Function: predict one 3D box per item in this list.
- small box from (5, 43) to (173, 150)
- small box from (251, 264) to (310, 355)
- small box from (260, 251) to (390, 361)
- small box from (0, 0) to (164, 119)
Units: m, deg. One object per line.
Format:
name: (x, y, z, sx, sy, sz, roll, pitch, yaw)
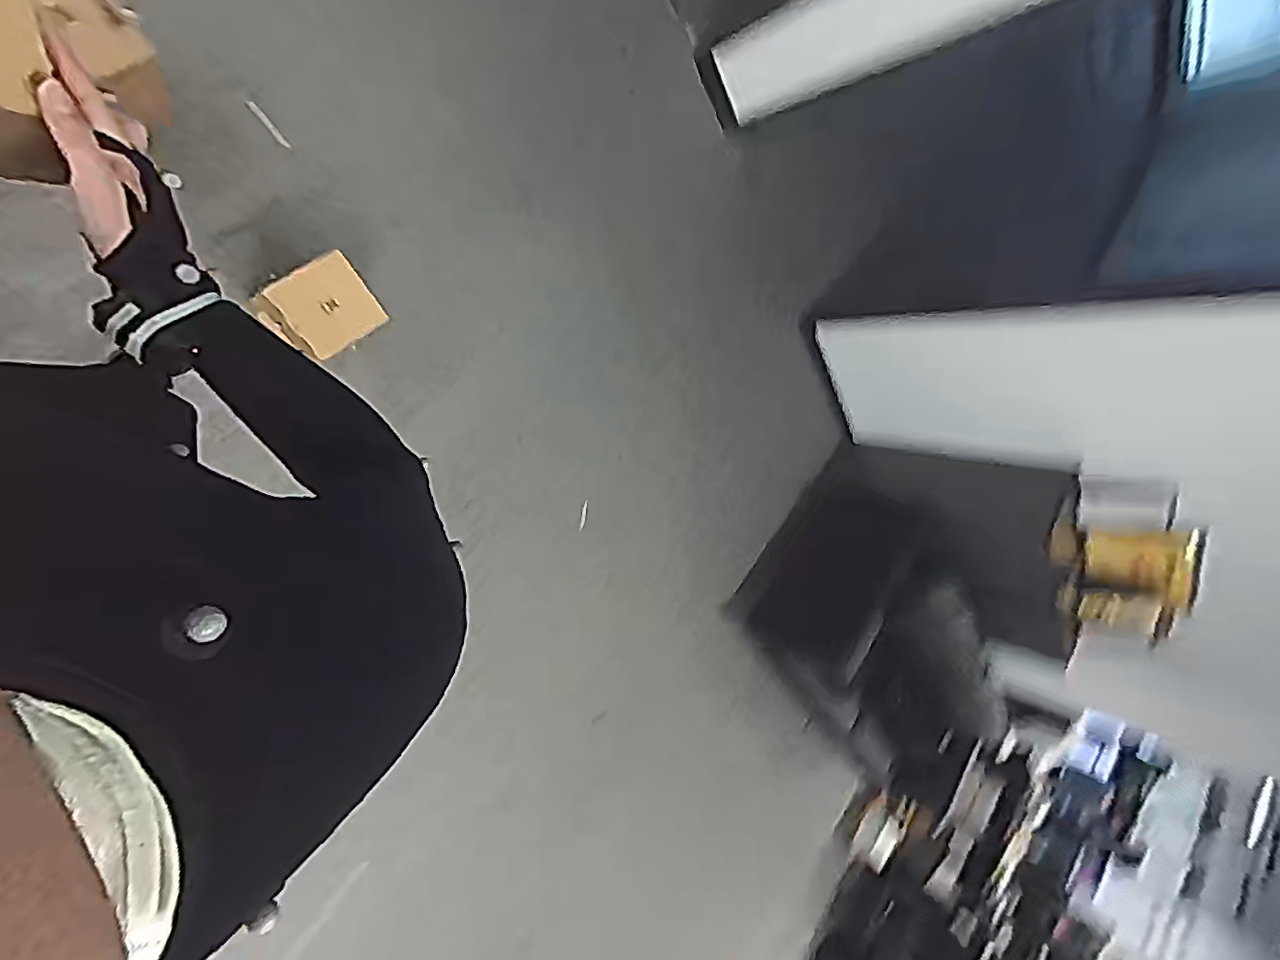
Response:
small box: (-1.043, -0.770, 1.028, 0.168, 0.176, 0.179, -45, 125, -23)
small box: (-0.806, -0.416, 1.311, 0.179, 0.176, 0.168, -39, 121, -26)
small box: (-0.699, -0.383, 1.196, 0.179, 0.176, 0.168, -44, 126, -23)
small box: (-0.944, -0.741, 0.901, 0.179, 0.176, 0.168, -45, 125, -22)
